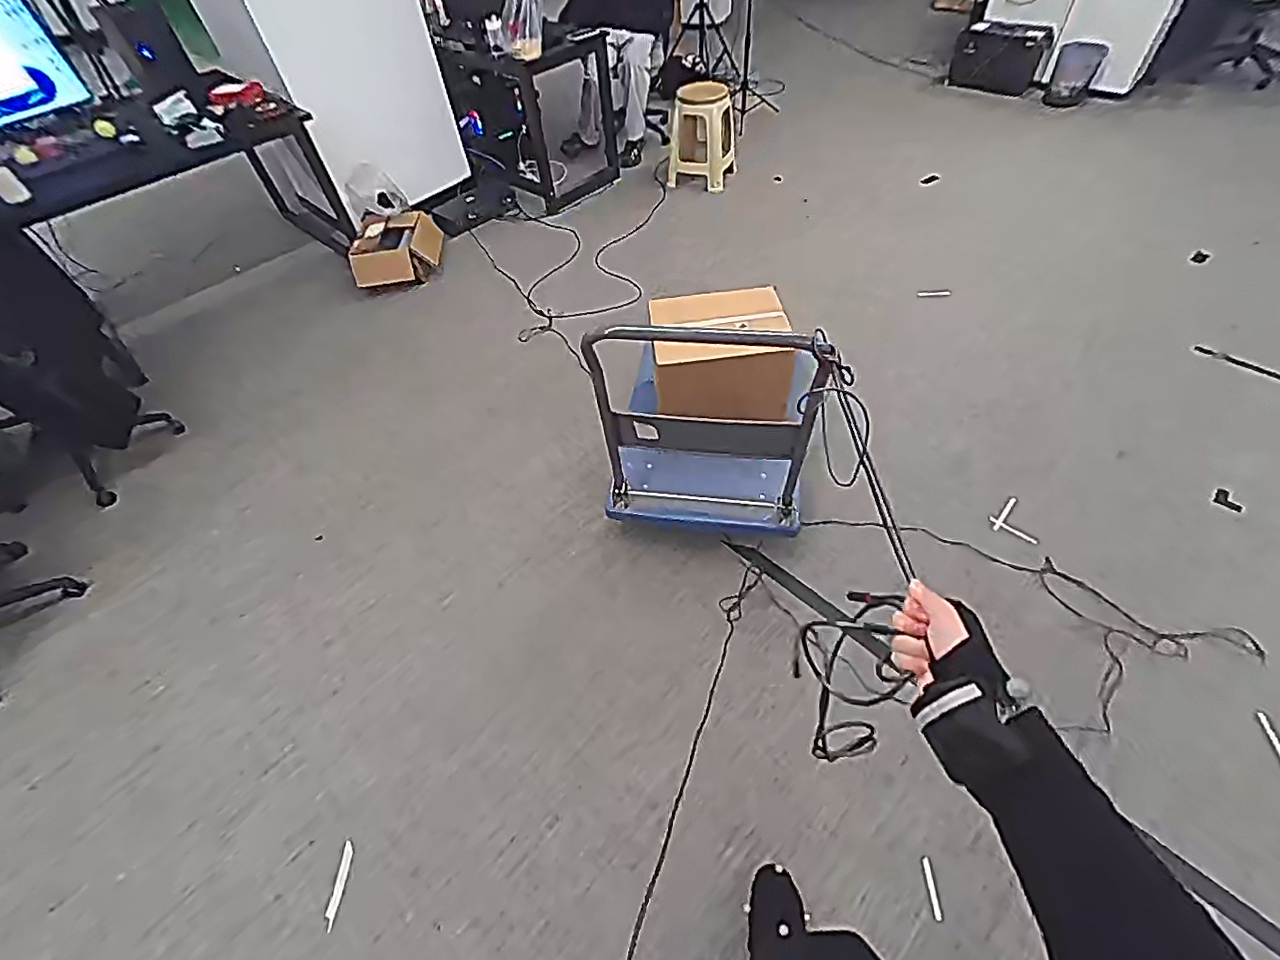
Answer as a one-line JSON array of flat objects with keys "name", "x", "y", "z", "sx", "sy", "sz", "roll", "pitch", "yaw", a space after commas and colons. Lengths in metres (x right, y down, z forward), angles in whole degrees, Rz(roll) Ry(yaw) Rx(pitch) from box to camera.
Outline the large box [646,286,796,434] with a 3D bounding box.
[{"name": "large box", "x": 0.240, "y": -0.378, "z": 1.727, "sx": 0.408, "sy": 0.320, "sz": 0.320, "roll": -6, "pitch": 54, "yaw": 1}]
